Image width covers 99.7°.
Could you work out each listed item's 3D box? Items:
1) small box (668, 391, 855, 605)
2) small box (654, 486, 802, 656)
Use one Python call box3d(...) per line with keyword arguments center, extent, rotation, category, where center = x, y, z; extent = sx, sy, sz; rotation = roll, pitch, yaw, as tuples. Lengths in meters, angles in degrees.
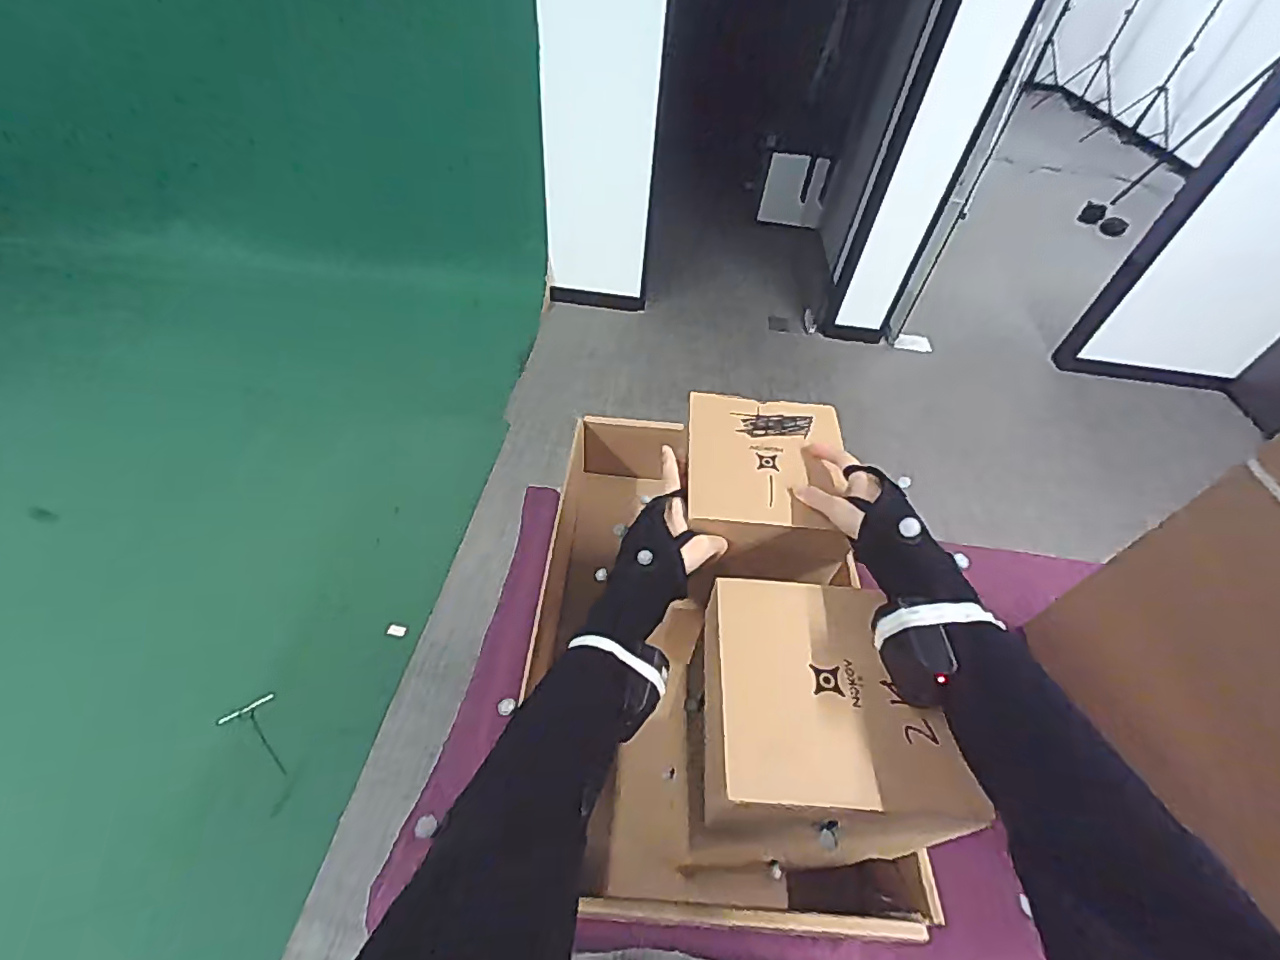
box3d(center=(0.122, 0.023, 0.620), extent=(0.168, 0.176, 0.179), rotation=(4, 52, 0), category="small box")
box3d(center=(0.108, 0.129, 0.743), extent=(0.168, 0.176, 0.179), rotation=(3, 51, -2), category="small box")
